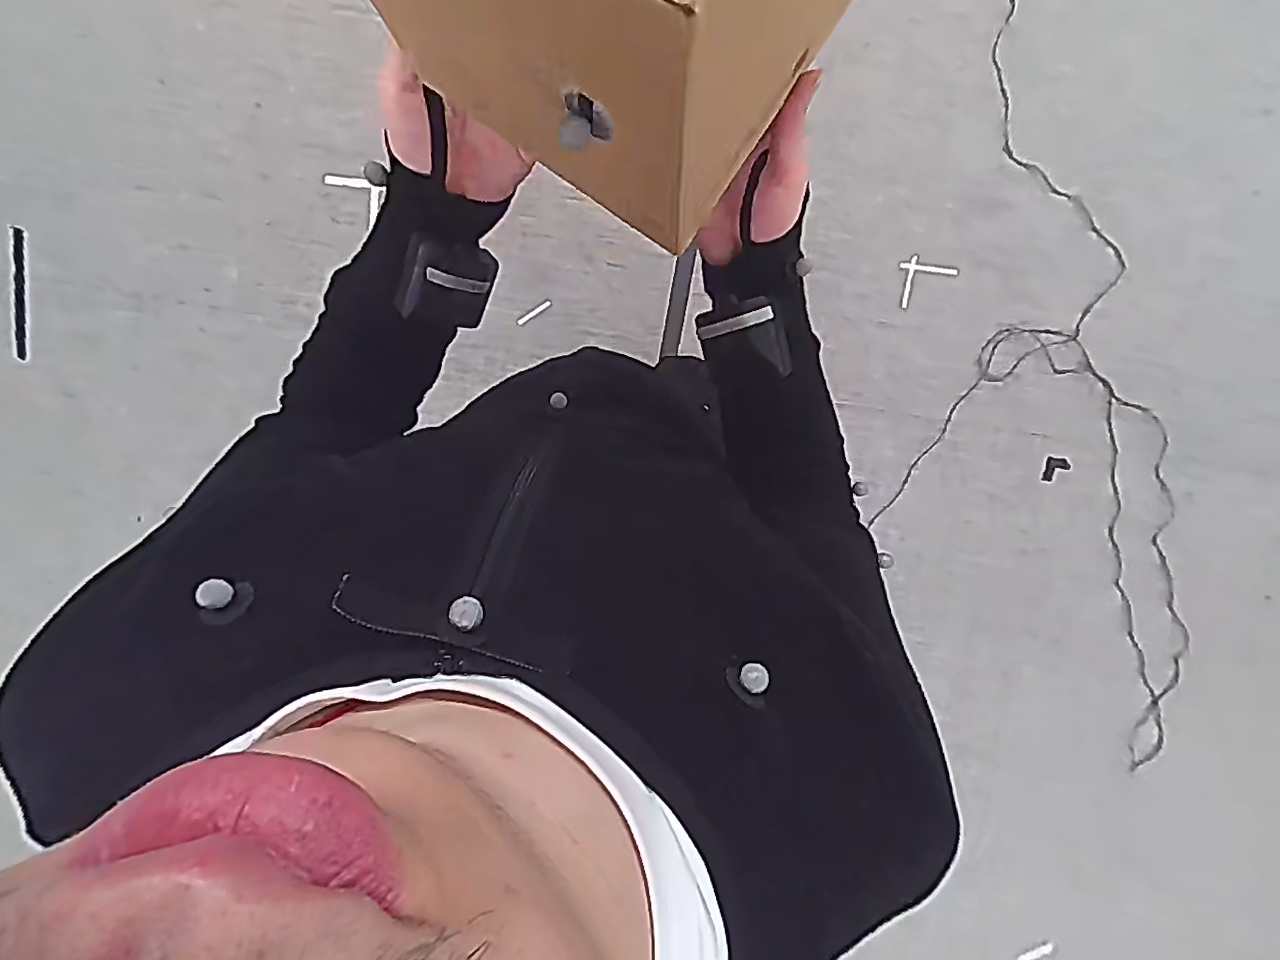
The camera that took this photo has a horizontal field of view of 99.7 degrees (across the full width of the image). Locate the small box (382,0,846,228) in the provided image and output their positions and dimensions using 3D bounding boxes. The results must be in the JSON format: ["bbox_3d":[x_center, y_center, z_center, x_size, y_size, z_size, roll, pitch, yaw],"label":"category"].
[{"bbox_3d":[-0.005,-0.237,0.223,0.179,0.176,0.168,34,93,1],"label":"small box"}]
